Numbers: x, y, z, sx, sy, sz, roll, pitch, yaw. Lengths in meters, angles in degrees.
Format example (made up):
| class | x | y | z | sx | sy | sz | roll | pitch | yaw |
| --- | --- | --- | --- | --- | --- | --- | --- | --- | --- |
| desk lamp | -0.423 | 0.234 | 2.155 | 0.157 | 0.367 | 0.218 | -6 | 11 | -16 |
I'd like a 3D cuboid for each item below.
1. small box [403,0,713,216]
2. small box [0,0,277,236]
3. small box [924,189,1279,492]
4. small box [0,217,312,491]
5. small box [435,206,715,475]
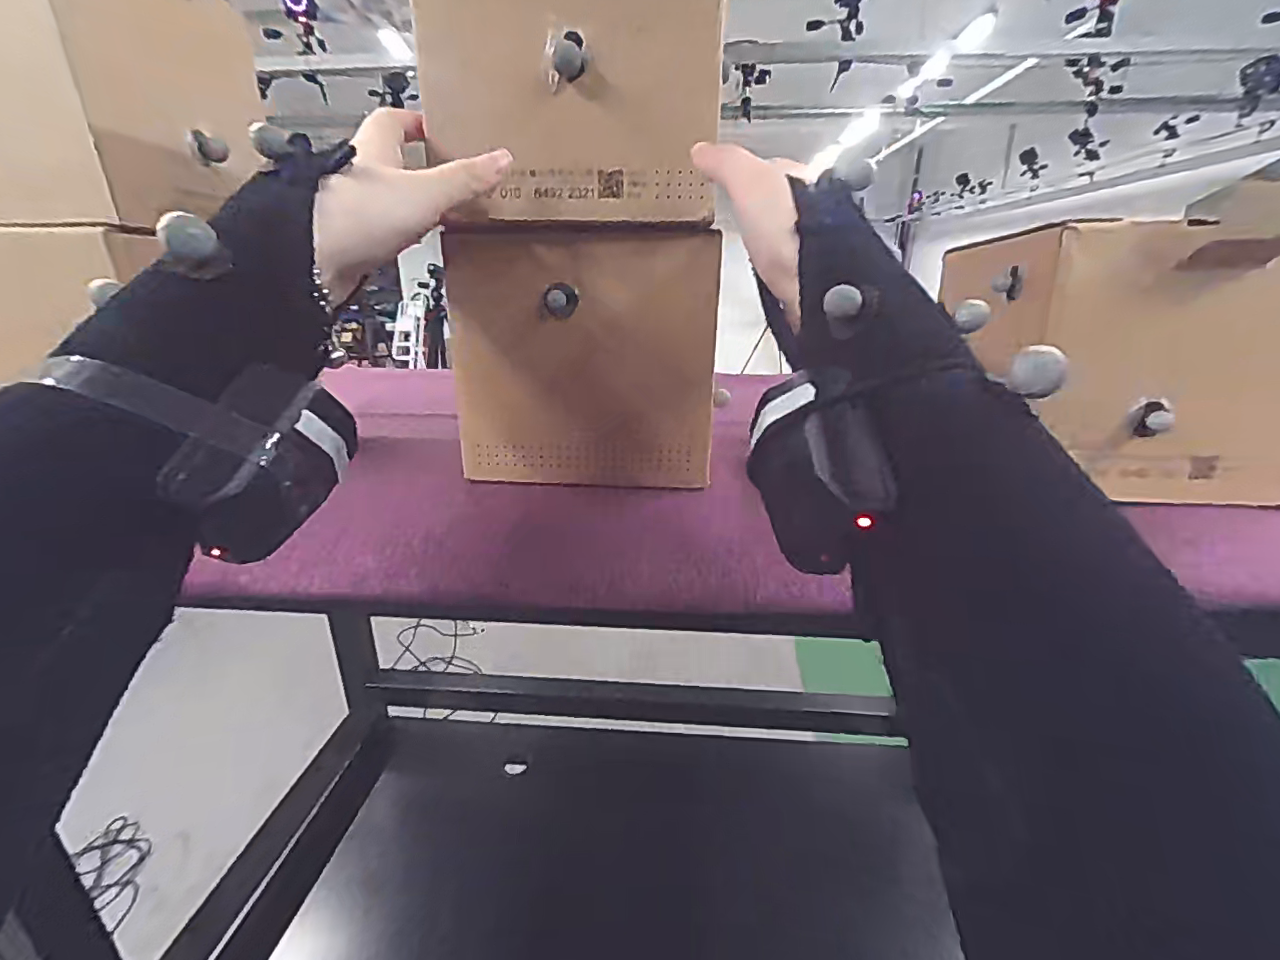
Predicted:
| class | x | y | z | sx | sy | sz | roll | pitch | yaw |
| --- | --- | --- | --- | --- | --- | --- | --- | --- | --- |
| small box | -0.041 | -0.258 | 0.359 | 0.168 | 0.176 | 0.179 | 0 | 19 | 0 |
| small box | -0.391 | -0.255 | 0.359 | 0.179 | 0.176 | 0.168 | -1 | 20 | 0 |
| small box | 0.325 | -0.098 | 0.388 | 0.168 | 0.176 | 0.179 | 1 | 18 | 7 |
| small box | -0.384 | -0.099 | 0.414 | 0.168 | 0.176 | 0.179 | -1 | 21 | 1 |
| small box | -0.033 | -0.106 | 0.422 | 0.179 | 0.176 | 0.168 | 2 | 19 | 5 |
